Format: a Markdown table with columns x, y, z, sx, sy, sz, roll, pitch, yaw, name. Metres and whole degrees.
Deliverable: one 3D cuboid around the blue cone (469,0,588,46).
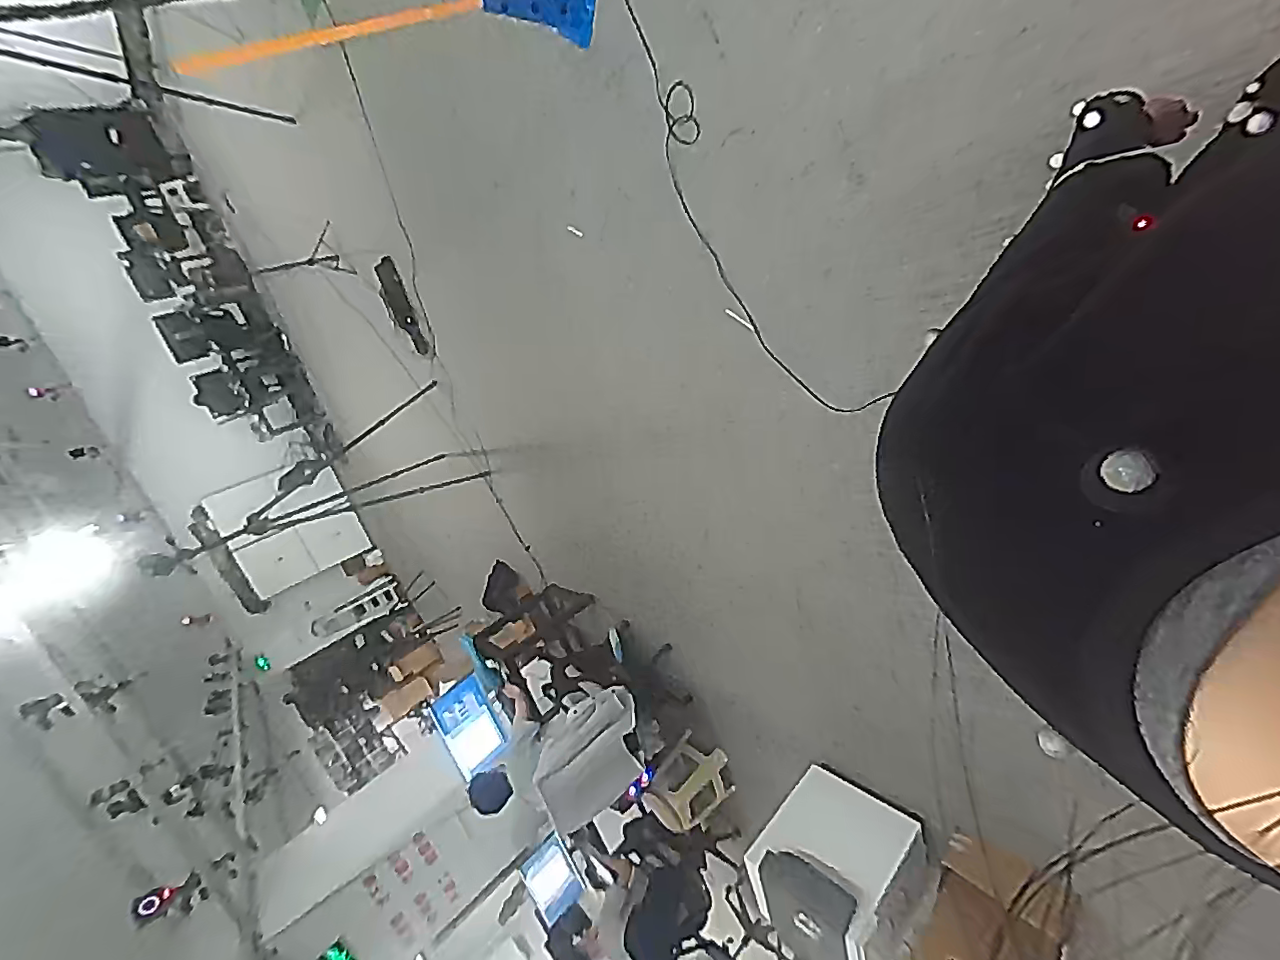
| x | y | z | sx | sy | sz | roll | pitch | yaw | name |
| --- | --- | --- | --- | --- | --- | --- | --- | --- | --- |
| -0.348 | -1.468 | 1.664 | 0.192 | 0.380 | 0.193 | 43 | 145 | 21 | blue cone |
